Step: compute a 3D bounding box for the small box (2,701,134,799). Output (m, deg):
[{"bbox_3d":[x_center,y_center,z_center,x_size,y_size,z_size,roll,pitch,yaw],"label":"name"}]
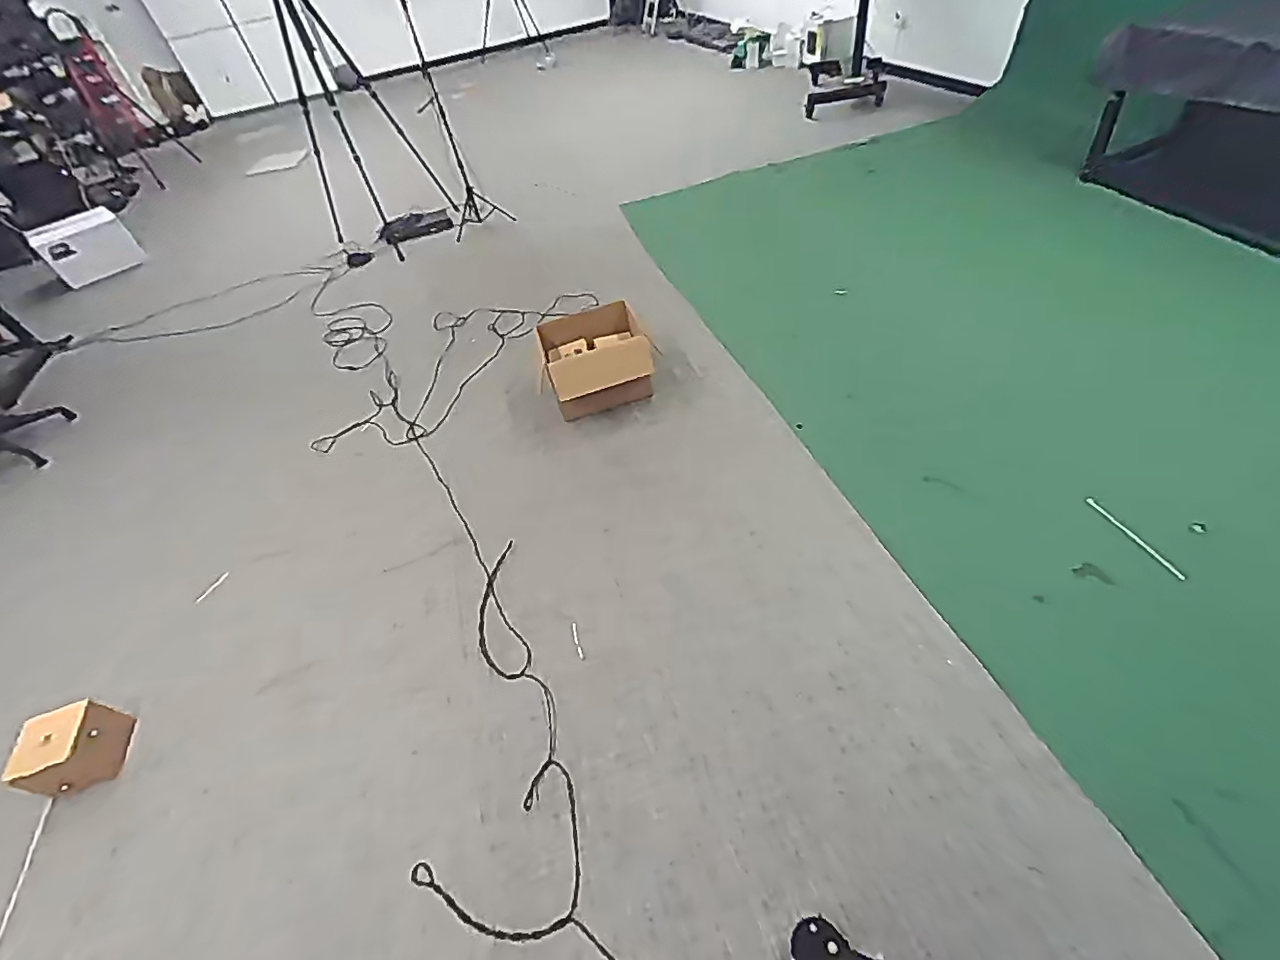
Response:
[{"bbox_3d":[-1.582,0.757,1.514,0.168,0.176,0.179,-19,49,-8],"label":"small box"}]
